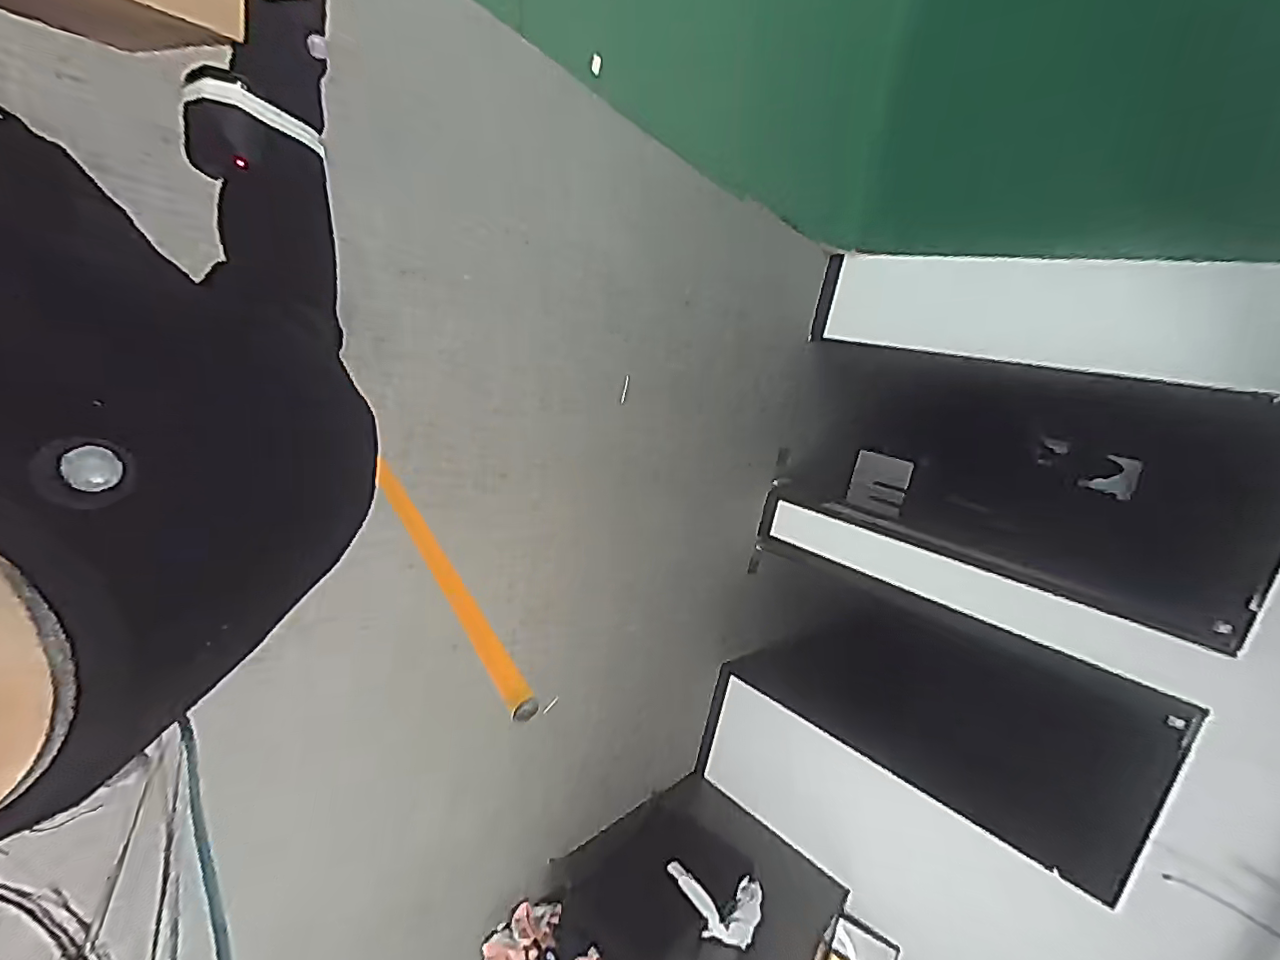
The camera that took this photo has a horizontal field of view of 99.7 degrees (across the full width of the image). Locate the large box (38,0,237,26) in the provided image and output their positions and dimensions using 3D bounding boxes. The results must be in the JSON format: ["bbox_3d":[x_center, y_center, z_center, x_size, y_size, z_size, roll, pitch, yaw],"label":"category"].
[{"bbox_3d":[-0.501,-0.497,0.271,0.408,0.320,0.320,-15,125,-49],"label":"large box"}]
